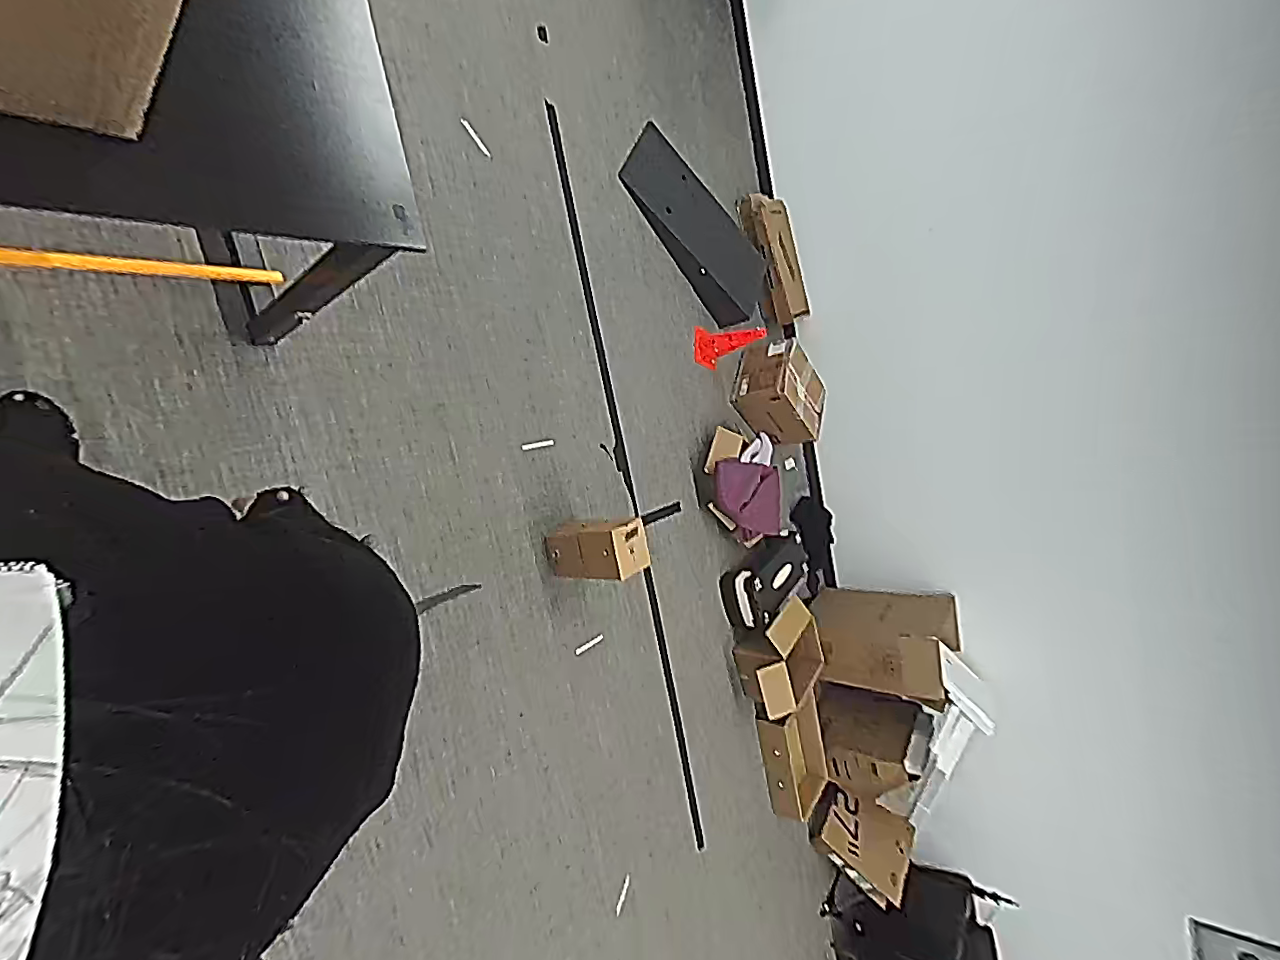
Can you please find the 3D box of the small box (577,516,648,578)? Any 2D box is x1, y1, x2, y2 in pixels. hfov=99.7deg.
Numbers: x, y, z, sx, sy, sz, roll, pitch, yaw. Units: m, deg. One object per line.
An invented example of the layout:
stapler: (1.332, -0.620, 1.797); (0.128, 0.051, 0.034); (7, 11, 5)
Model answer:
small box: (-0.101, 0.234, 1.891); (0.168, 0.176, 0.179); (-19, 101, -49)

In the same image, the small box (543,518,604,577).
small box: (-0.228, 0.246, 1.995); (0.179, 0.176, 0.168); (-26, 105, -47)
